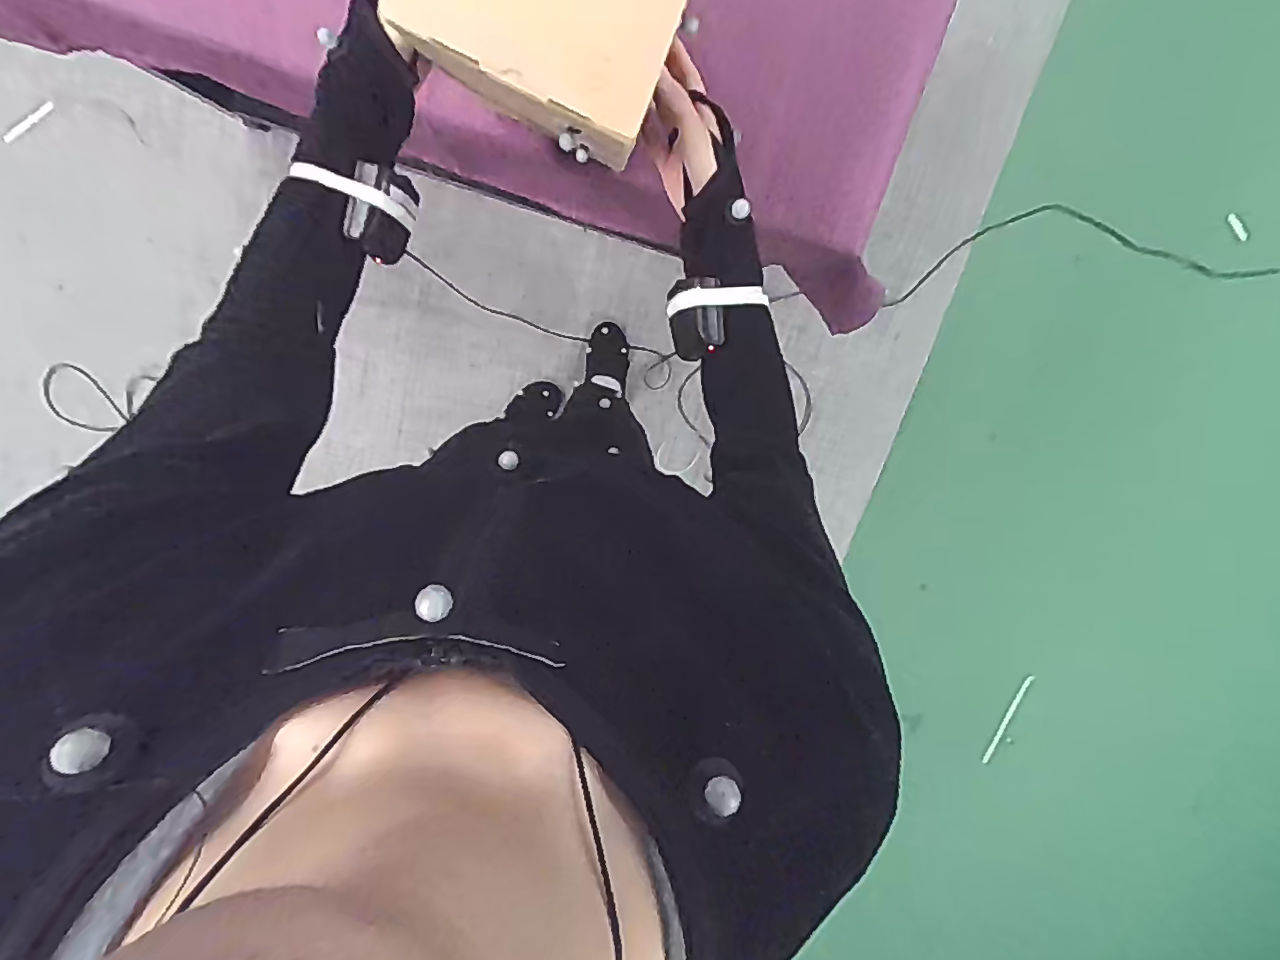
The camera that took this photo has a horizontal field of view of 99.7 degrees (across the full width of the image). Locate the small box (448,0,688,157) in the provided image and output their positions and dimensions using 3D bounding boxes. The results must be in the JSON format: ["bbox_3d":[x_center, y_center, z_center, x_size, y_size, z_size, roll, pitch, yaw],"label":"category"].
[{"bbox_3d":[-0.061,-0.435,0.520,0.179,0.176,0.168,20,113,-14],"label":"small box"}]

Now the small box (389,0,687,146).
[{"bbox_3d":[-0.047,-0.363,0.375,0.168,0.176,0.179,20,113,-14],"label":"small box"}]
